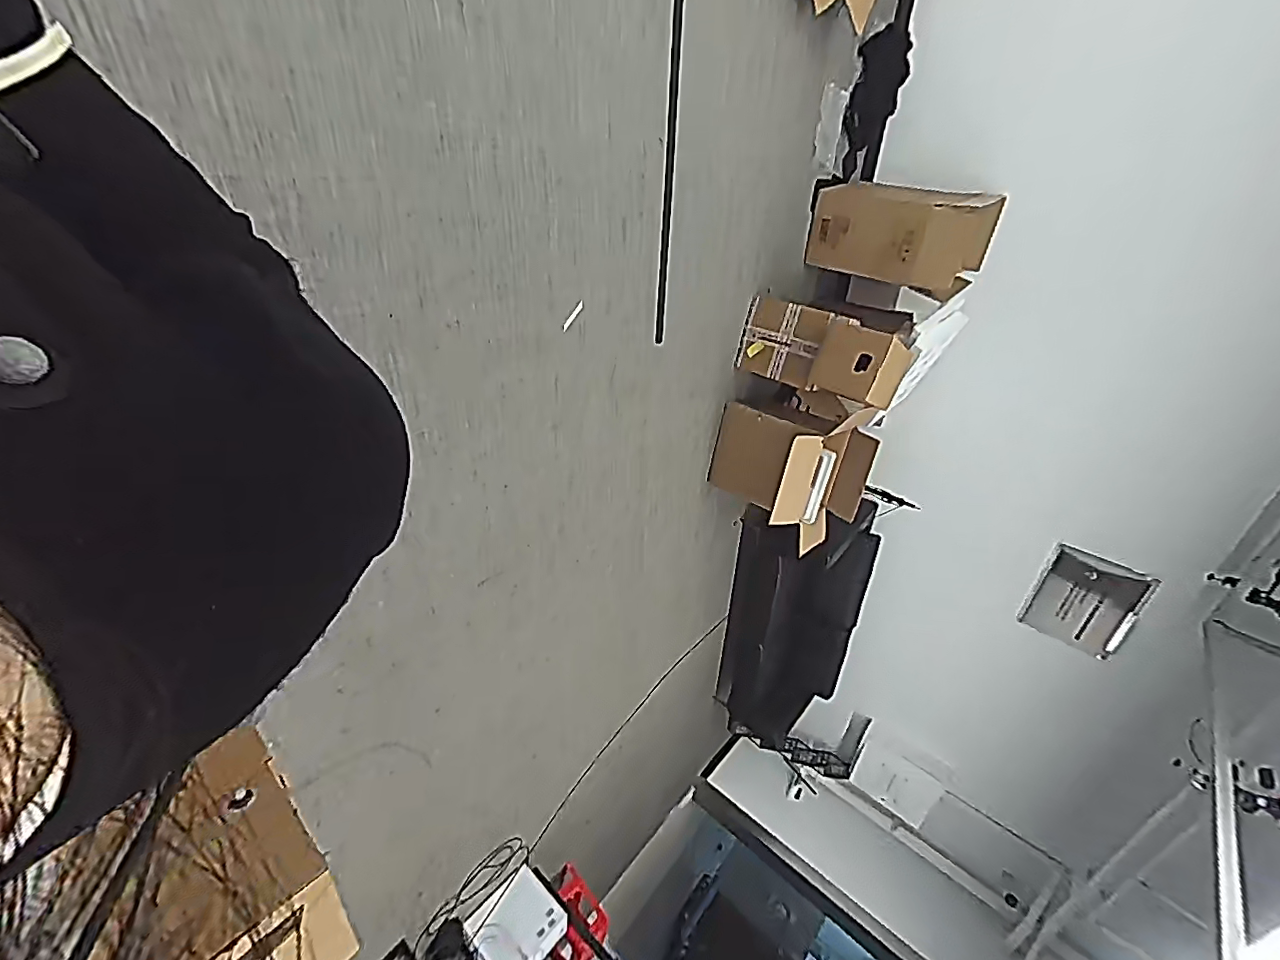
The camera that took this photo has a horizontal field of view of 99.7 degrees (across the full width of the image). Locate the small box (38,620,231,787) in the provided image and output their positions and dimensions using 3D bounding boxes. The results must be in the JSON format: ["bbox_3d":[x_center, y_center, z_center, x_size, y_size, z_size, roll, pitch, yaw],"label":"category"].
[{"bbox_3d":[-0.671,0.329,0.742,0.179,0.176,0.168,-27,132,-43],"label":"small box"}]

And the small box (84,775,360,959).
[{"bbox_3d":[-0.427,0.450,0.563,0.168,0.176,0.179,-27,132,-43],"label":"small box"}]

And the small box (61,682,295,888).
[{"bbox_3d":[-0.549,0.389,0.655,0.179,0.176,0.168,-27,131,-44],"label":"small box"}]
